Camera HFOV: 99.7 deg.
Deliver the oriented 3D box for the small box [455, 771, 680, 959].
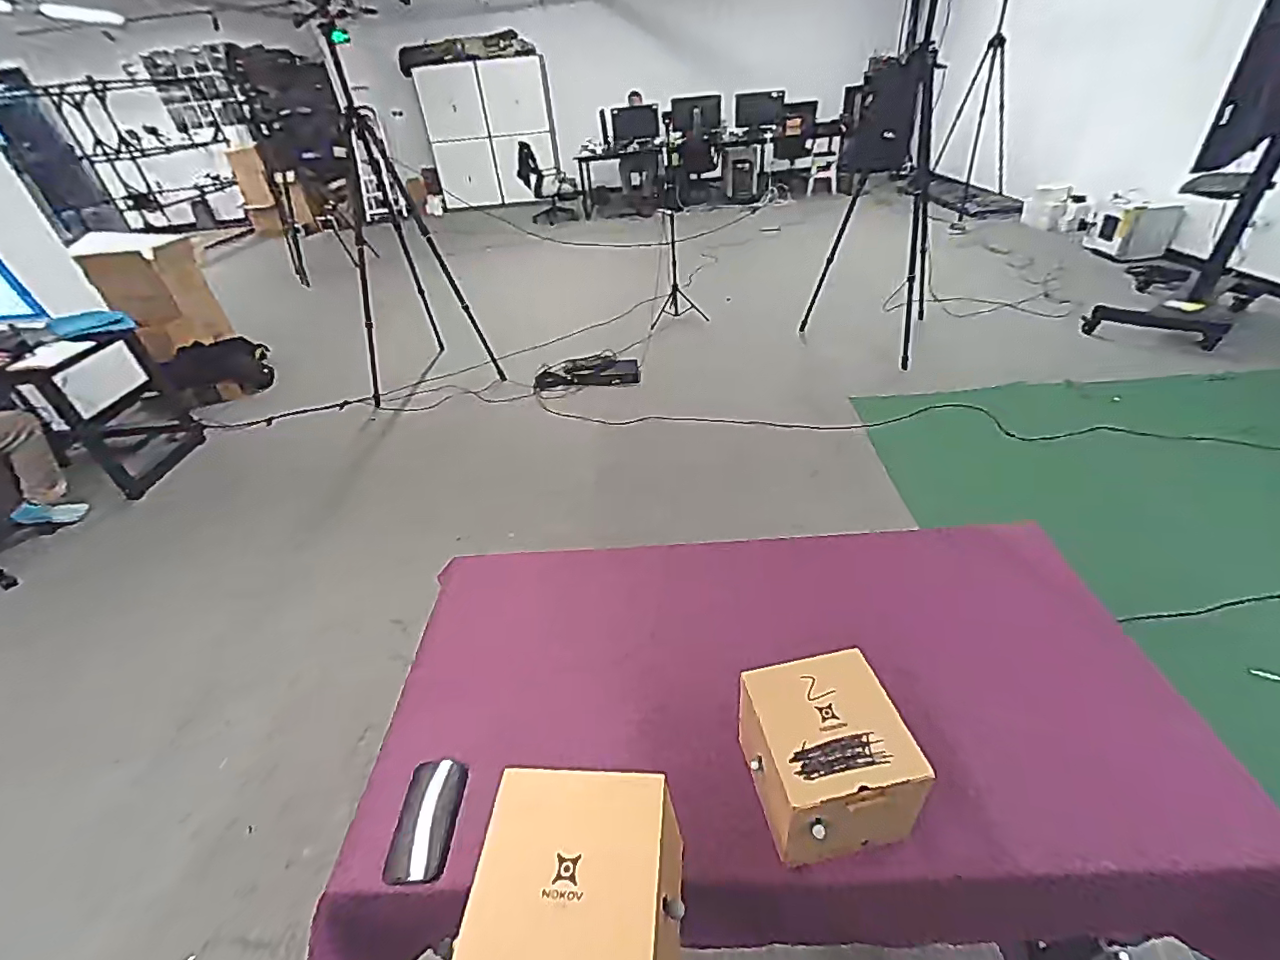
[{"bbox_3d":[-0.053,0.411,0.522,0.168,0.176,0.179,-3,39,10],"label":"small box"}]
